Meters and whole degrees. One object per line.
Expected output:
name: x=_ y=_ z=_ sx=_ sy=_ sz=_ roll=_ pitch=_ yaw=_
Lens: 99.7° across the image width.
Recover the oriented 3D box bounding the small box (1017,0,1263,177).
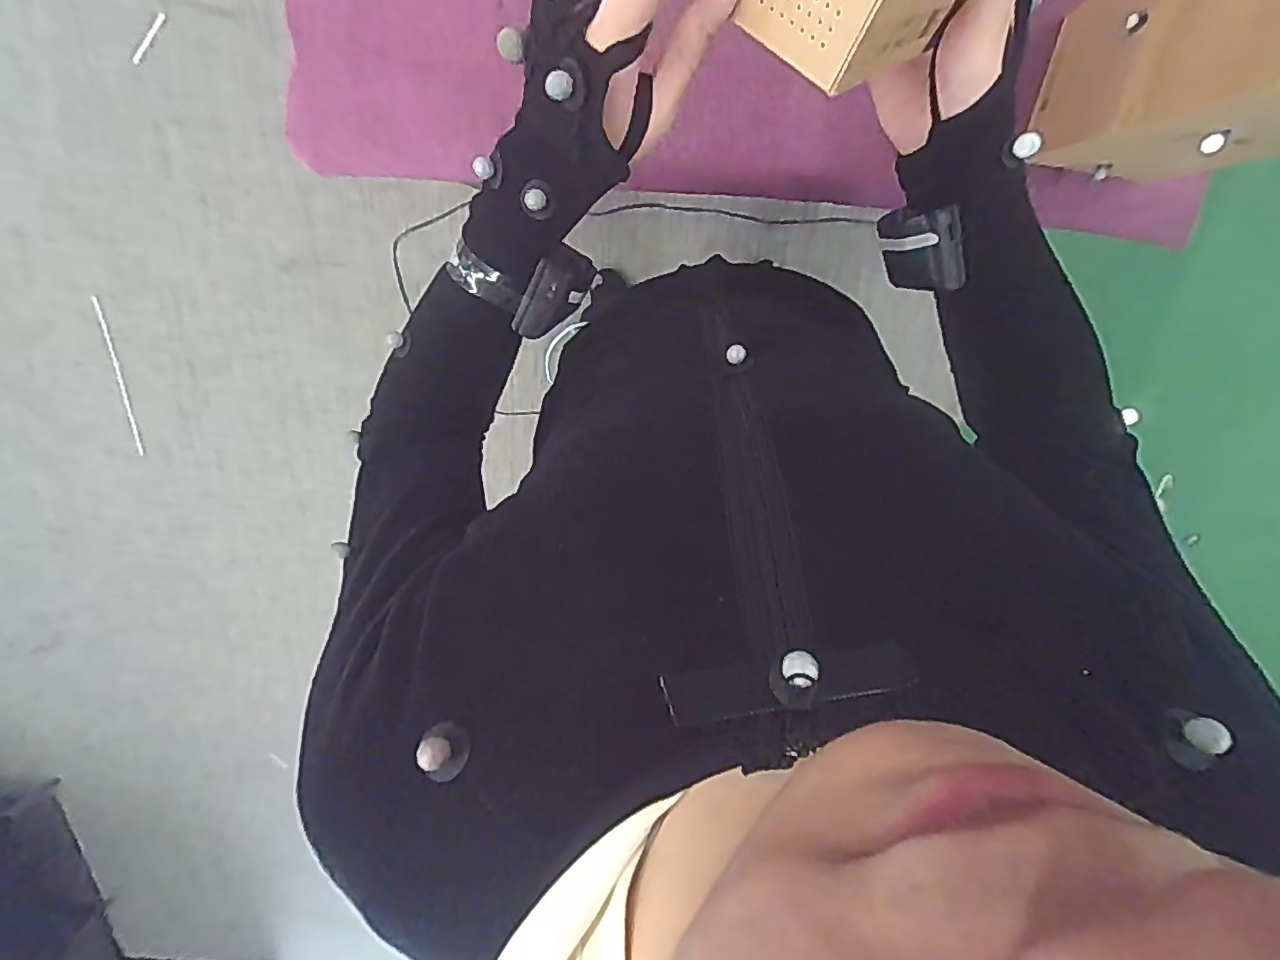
small box: x=0.589 y=-0.458 z=0.616 sx=0.179 sy=0.176 sz=0.168 roll=8 pitch=110 yaw=-1
